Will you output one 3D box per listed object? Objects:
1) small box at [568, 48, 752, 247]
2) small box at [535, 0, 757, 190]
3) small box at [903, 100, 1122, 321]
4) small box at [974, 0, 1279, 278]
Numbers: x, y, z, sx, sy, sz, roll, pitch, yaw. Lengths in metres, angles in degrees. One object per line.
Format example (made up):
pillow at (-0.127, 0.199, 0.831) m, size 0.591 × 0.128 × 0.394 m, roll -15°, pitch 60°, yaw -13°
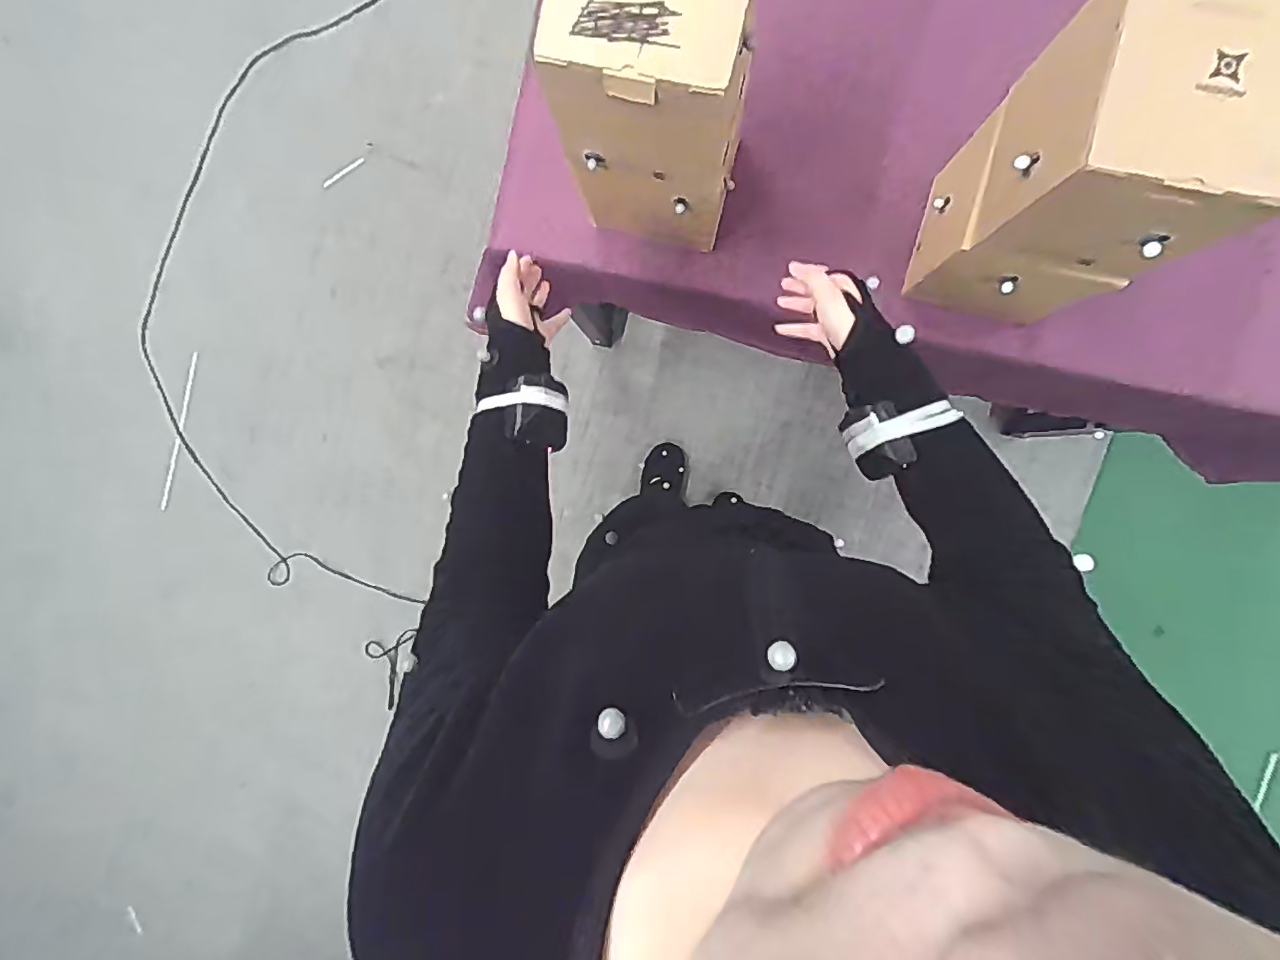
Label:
small box at (0.026, -0.418, 0.681) m, size 0.179 × 0.176 × 0.168 m, roll 14°, pitch 93°, yaw 3°
small box at (0.016, -0.413, 0.517) m, size 0.168 × 0.176 × 0.179 m, roll 14°, pitch 92°, yaw 3°
small box at (0.450, -0.306, 0.652) m, size 0.179 × 0.176 × 0.168 m, roll 16°, pitch 94°, yaw 3°
small box at (0.440, -0.305, 0.490) m, size 0.168 × 0.176 × 0.179 m, roll 13°, pitch 93°, yaw 3°
